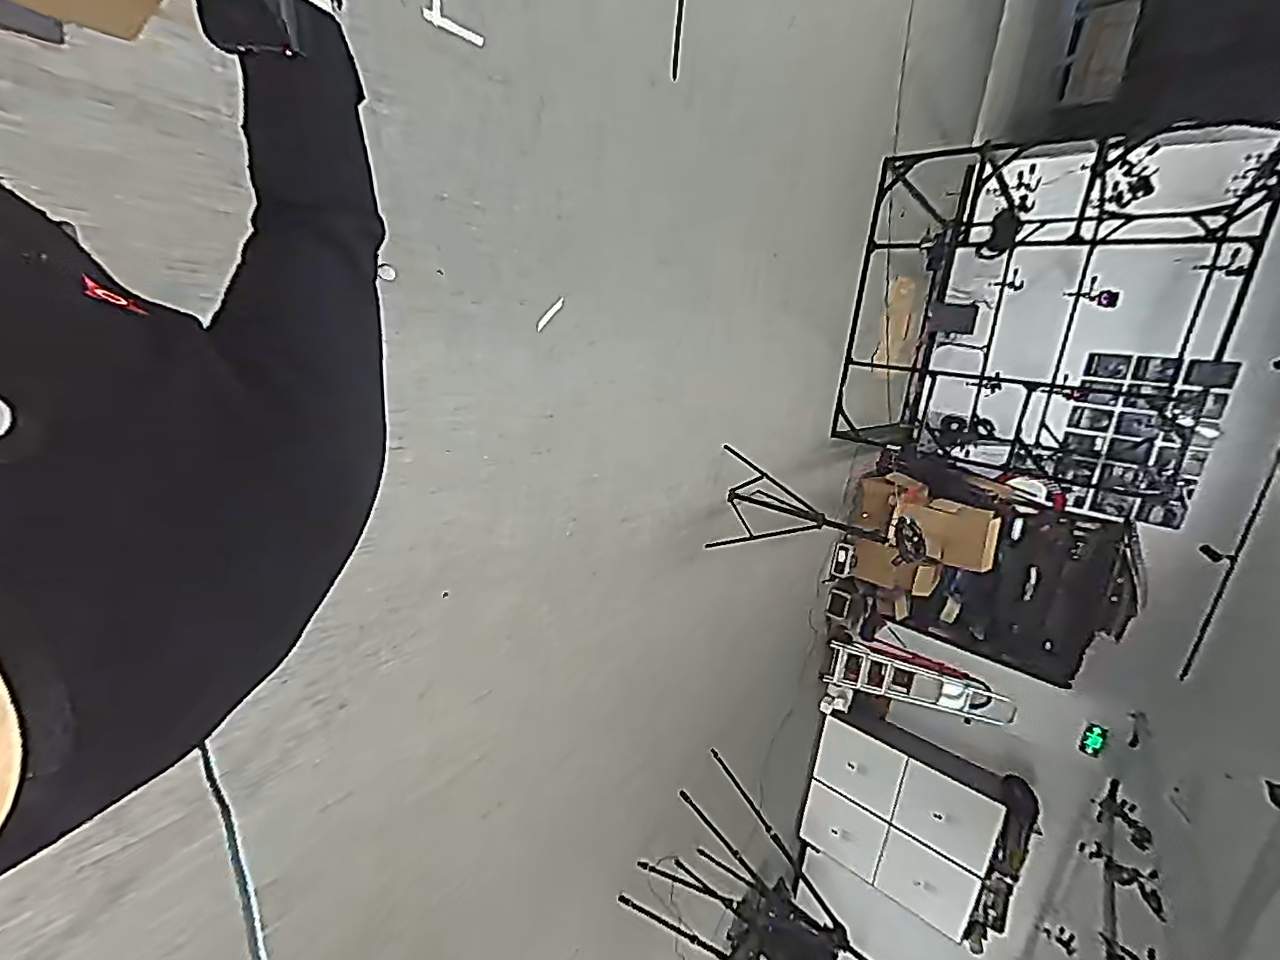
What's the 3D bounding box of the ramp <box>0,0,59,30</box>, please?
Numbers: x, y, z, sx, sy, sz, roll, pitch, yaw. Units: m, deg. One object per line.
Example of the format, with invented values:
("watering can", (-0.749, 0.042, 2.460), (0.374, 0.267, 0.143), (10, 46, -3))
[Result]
("ramp", (-1.045, -1.185, 0.577), (0.509, 0.206, 0.991), (-15, 116, -49))
